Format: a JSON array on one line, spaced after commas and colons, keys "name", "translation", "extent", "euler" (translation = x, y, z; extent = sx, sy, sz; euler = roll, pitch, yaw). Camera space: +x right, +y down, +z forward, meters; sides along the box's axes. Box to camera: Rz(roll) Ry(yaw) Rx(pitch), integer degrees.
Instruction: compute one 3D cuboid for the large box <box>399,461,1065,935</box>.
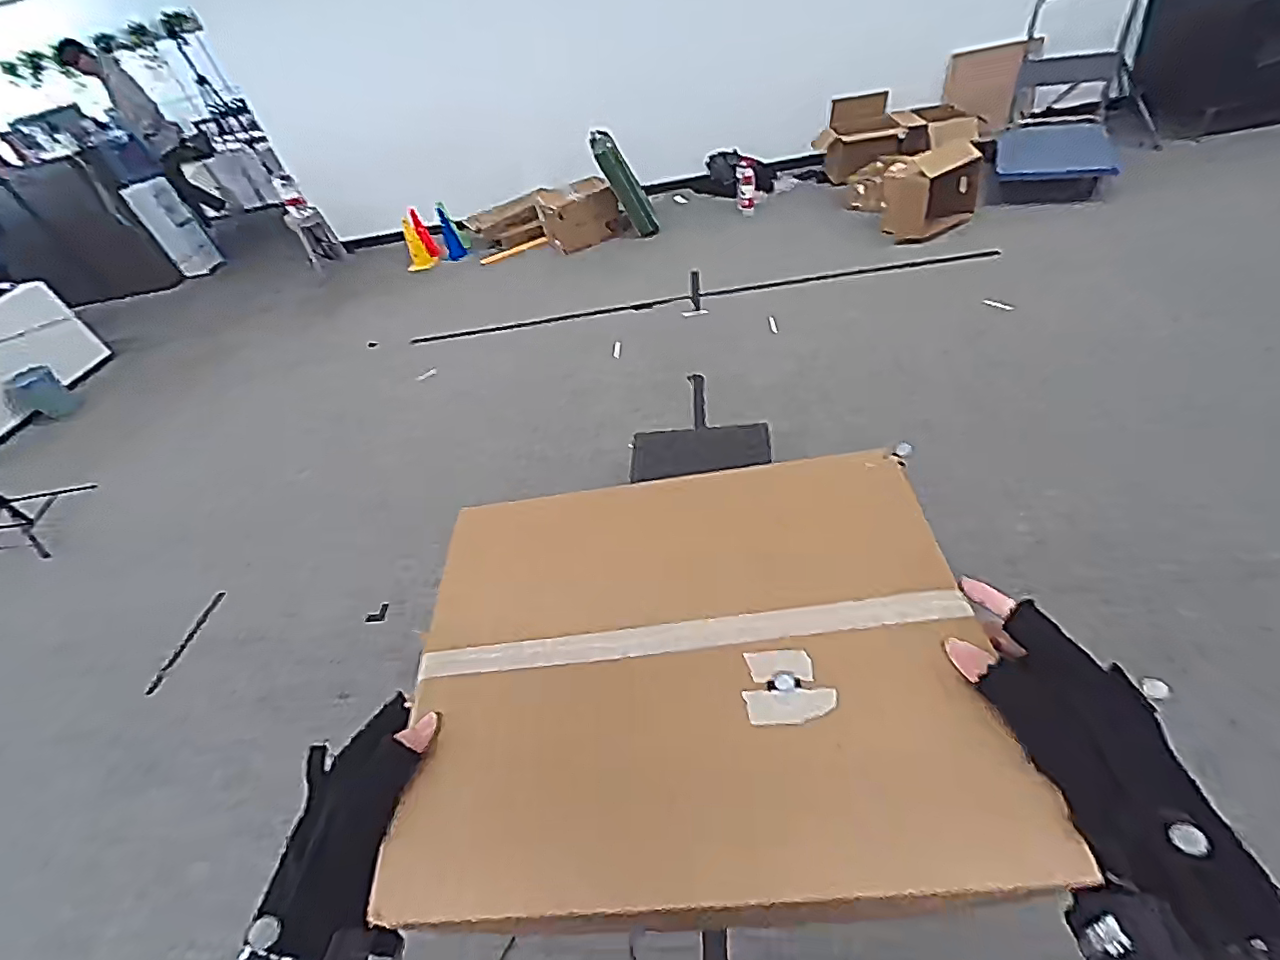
[{"name": "large box", "translation": [0.060, 0.222, 0.524], "extent": [0.408, 0.320, 0.320], "euler": [-8, 49, 6]}]
